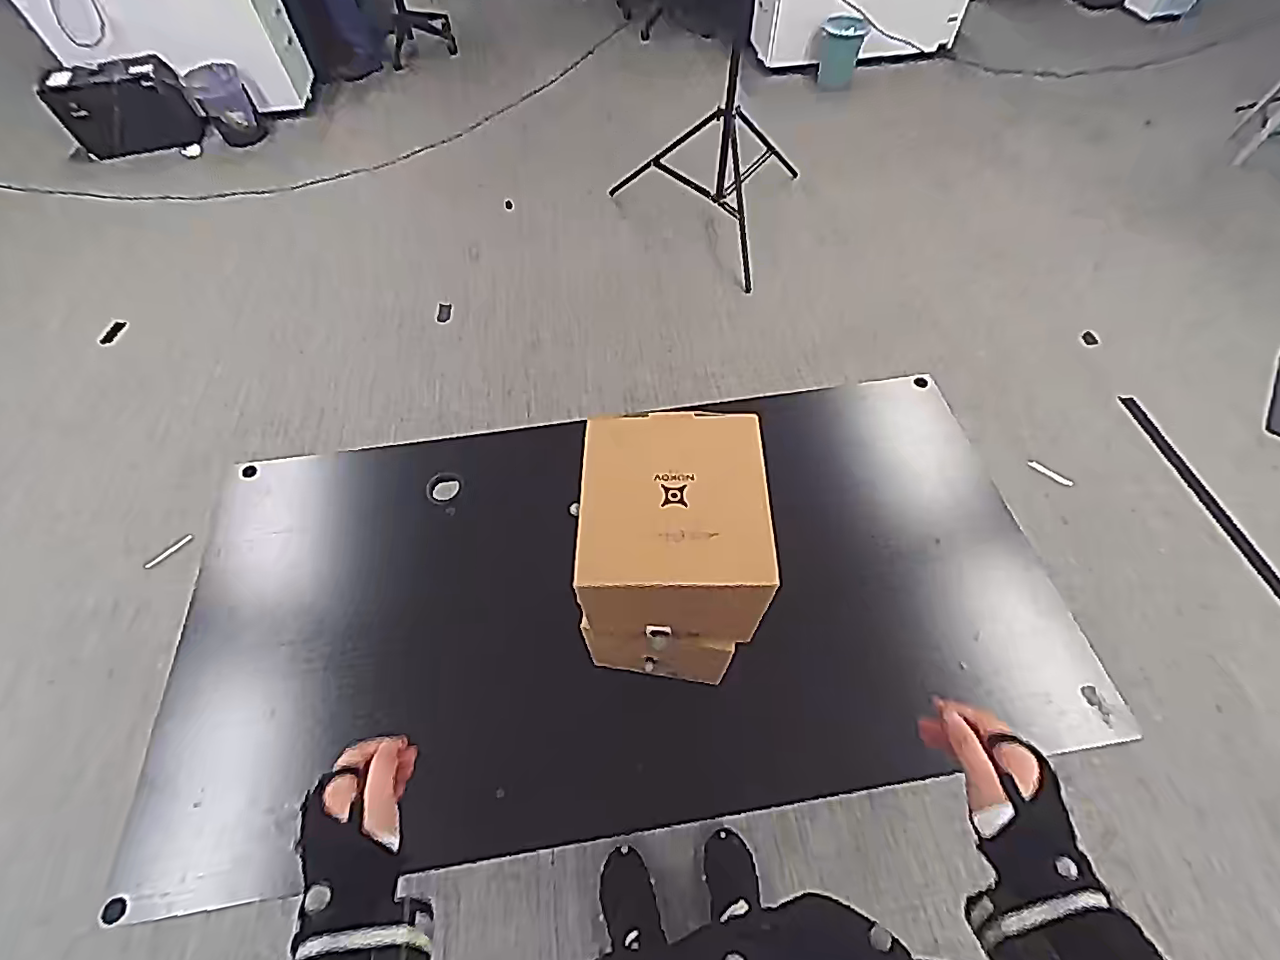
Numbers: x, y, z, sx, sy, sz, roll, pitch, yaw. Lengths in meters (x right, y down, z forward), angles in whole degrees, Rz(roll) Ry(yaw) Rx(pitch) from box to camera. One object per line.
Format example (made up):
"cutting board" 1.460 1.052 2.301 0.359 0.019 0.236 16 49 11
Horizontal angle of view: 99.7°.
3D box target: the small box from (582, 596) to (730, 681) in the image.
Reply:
"small box" 0.033 0.143 0.690 0.168 0.176 0.179 7 58 6

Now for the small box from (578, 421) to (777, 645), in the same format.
"small box" 0.033 0.058 0.551 0.168 0.176 0.179 -1 59 2
